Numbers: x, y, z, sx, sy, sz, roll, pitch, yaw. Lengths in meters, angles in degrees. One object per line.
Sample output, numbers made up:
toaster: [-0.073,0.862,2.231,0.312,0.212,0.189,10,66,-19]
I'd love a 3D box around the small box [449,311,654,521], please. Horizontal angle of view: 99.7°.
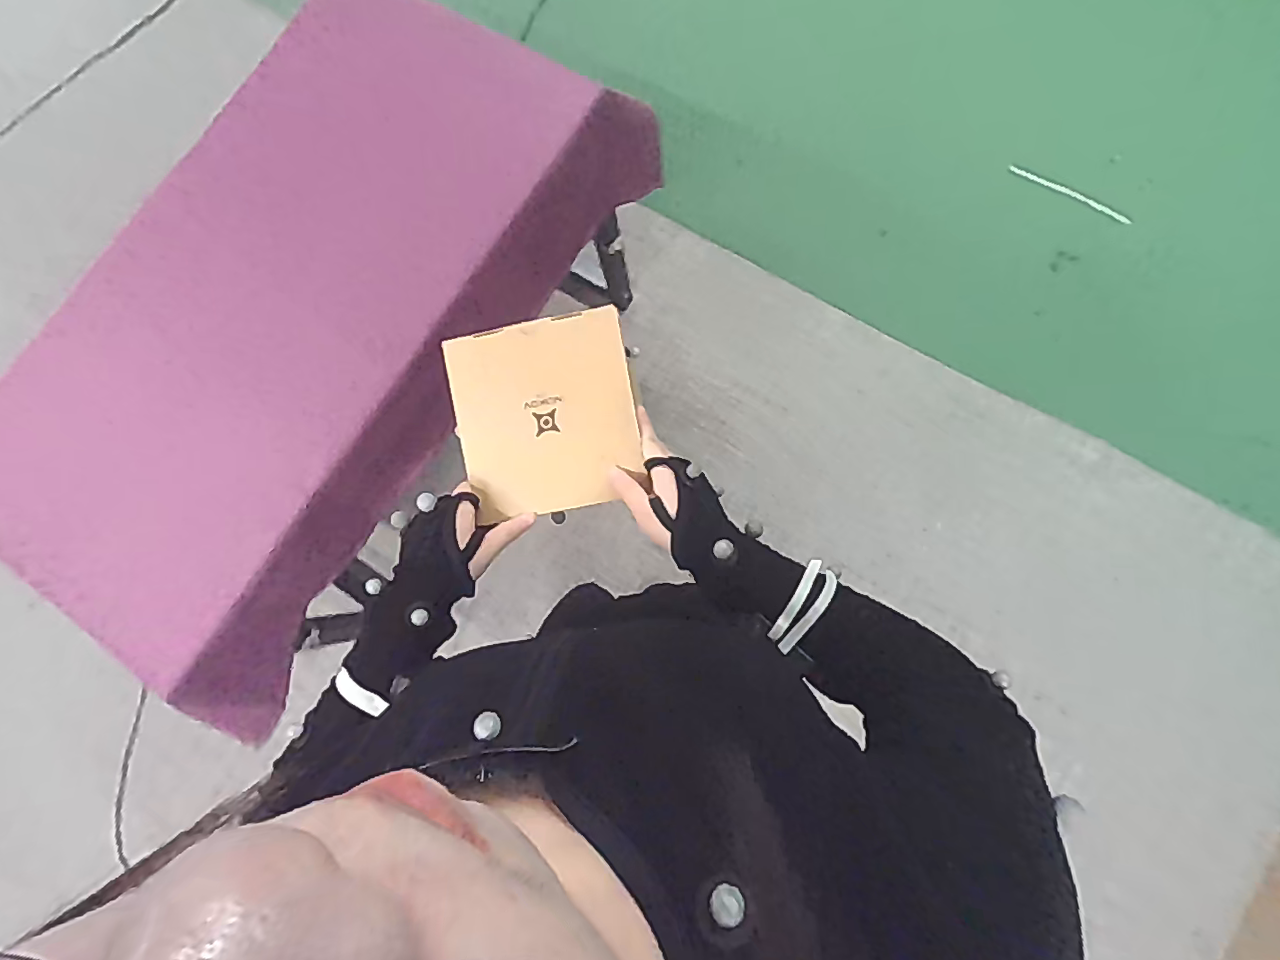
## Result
small box: [-0.081,-0.061,0.585,0.168,0.176,0.179,-10,90,4]
